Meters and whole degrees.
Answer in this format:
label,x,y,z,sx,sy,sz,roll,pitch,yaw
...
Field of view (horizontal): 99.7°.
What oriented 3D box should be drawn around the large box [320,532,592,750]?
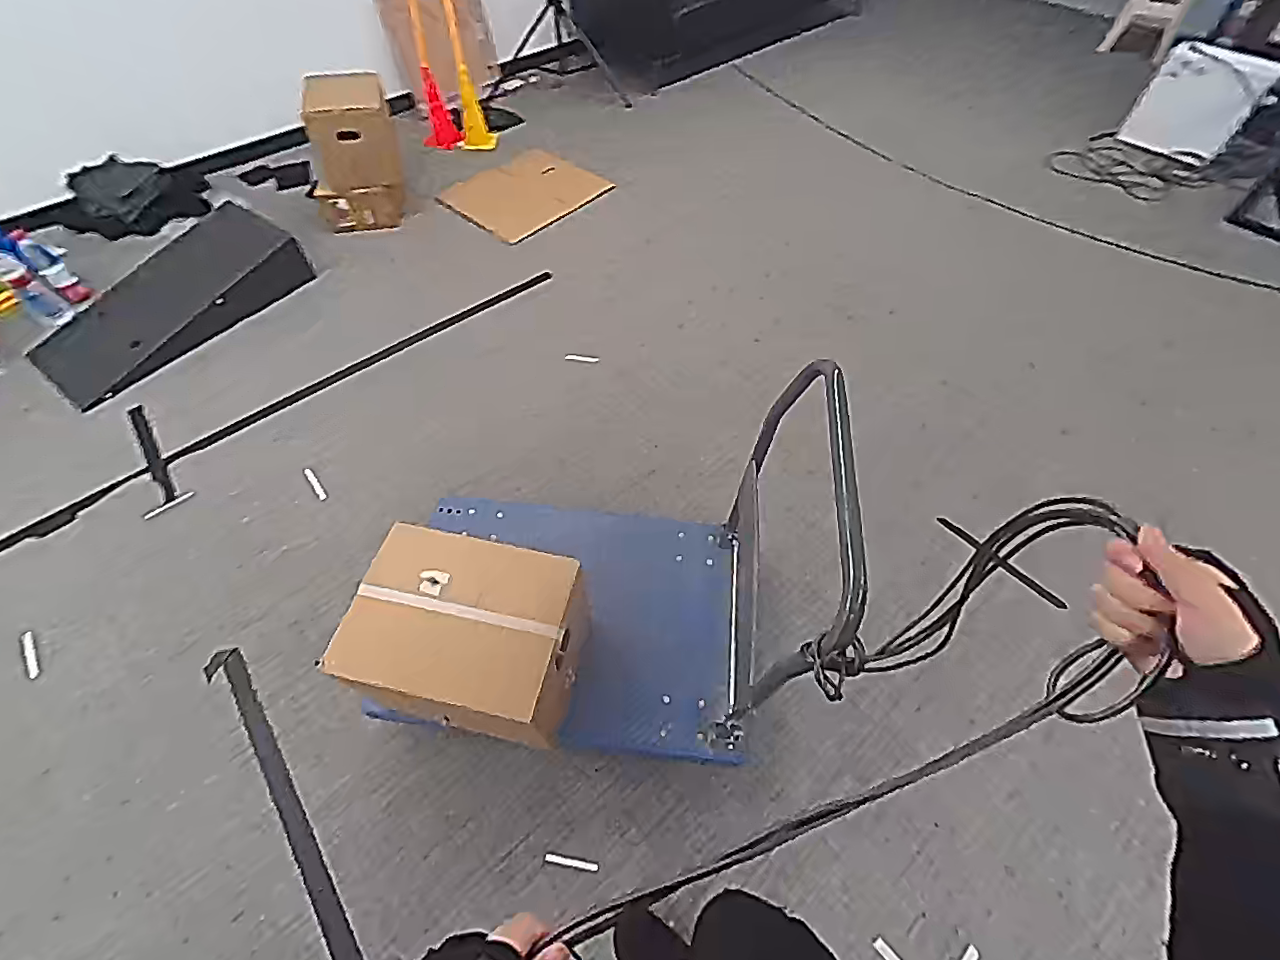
label,x,y,z,sx,sy,sz,roll,pitch,yaw
large box,-0.338,0.342,1.131,0.408,0.320,0.320,10,55,7
